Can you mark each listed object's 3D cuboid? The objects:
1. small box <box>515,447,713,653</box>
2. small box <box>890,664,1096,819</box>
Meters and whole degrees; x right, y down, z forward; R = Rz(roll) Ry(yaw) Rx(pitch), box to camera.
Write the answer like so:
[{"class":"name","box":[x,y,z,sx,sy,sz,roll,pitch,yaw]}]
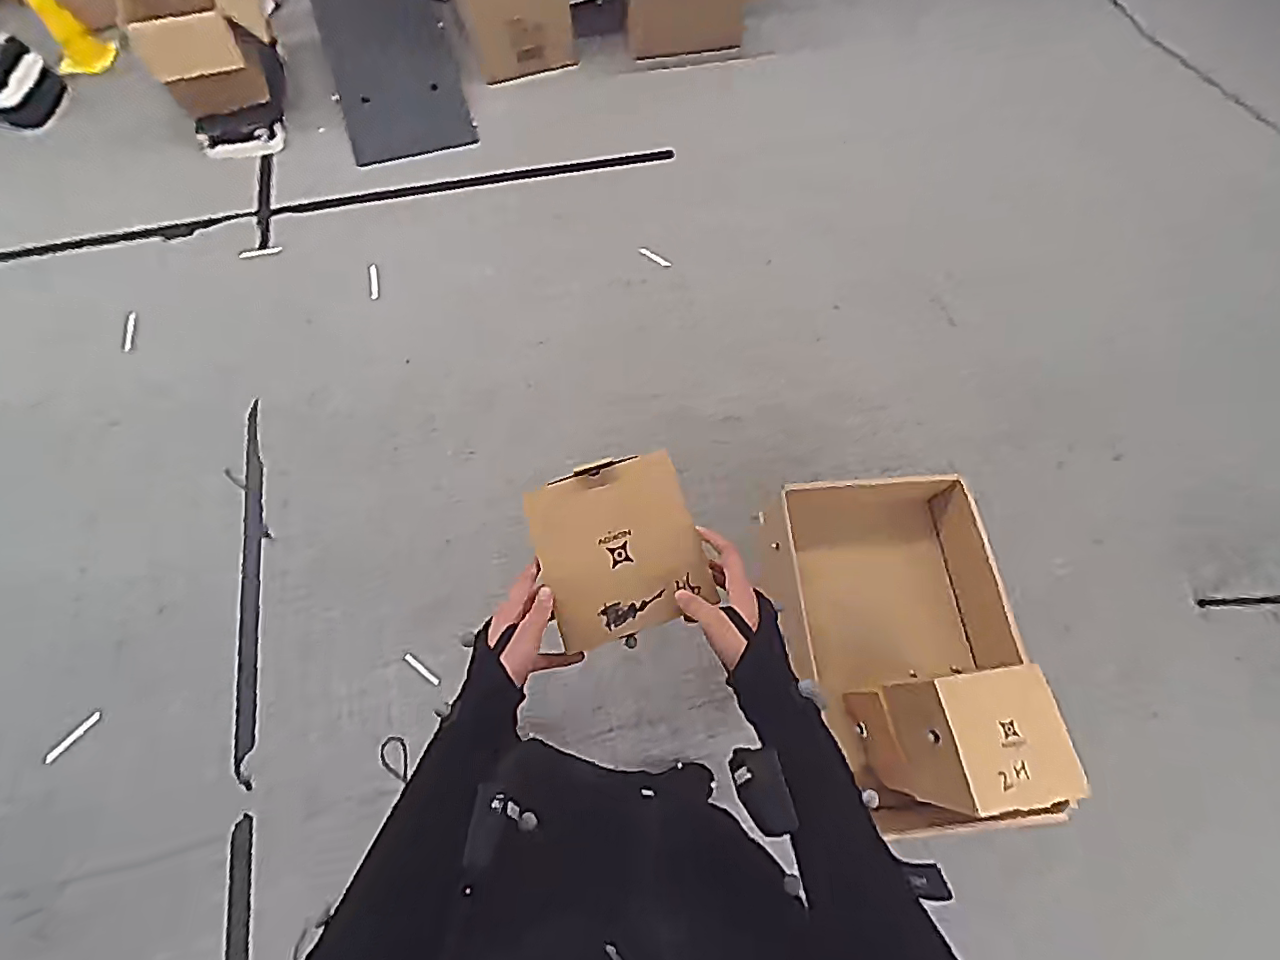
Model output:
[{"class":"small box","box":[-0.029,0.087,0.626,0.168,0.176,0.179,-18,77,-4]},{"class":"small box","box":[0.505,0.382,0.808,0.168,0.176,0.179,-7,67,-5]}]
